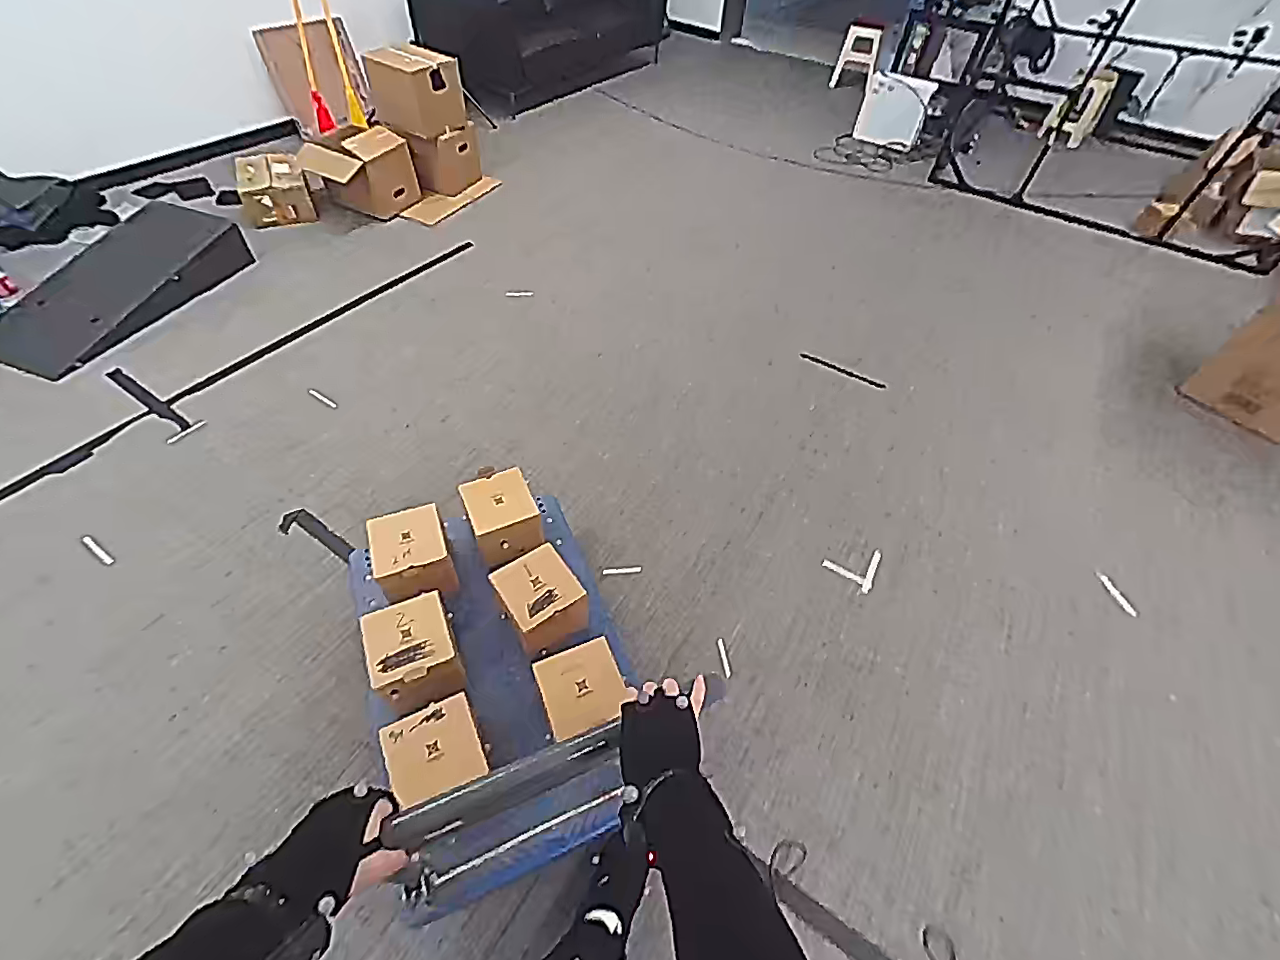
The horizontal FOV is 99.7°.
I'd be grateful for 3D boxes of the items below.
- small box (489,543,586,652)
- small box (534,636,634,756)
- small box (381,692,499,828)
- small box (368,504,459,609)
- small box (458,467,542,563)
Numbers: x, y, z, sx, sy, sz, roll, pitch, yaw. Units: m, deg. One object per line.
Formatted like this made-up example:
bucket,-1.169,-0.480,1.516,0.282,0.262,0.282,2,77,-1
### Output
small box,-0.243,0.292,1.311,0.168,0.176,0.179,-28,57,-26
small box,-0.122,0.474,1.173,0.168,0.176,0.179,-16,53,-19
small box,-0.389,0.559,1.072,0.168,0.176,0.179,-19,55,-22
small box,-0.567,0.192,1.360,0.168,0.176,0.179,-16,54,-18
small box,-0.372,0.102,1.457,0.168,0.176,0.179,-20,55,-20
